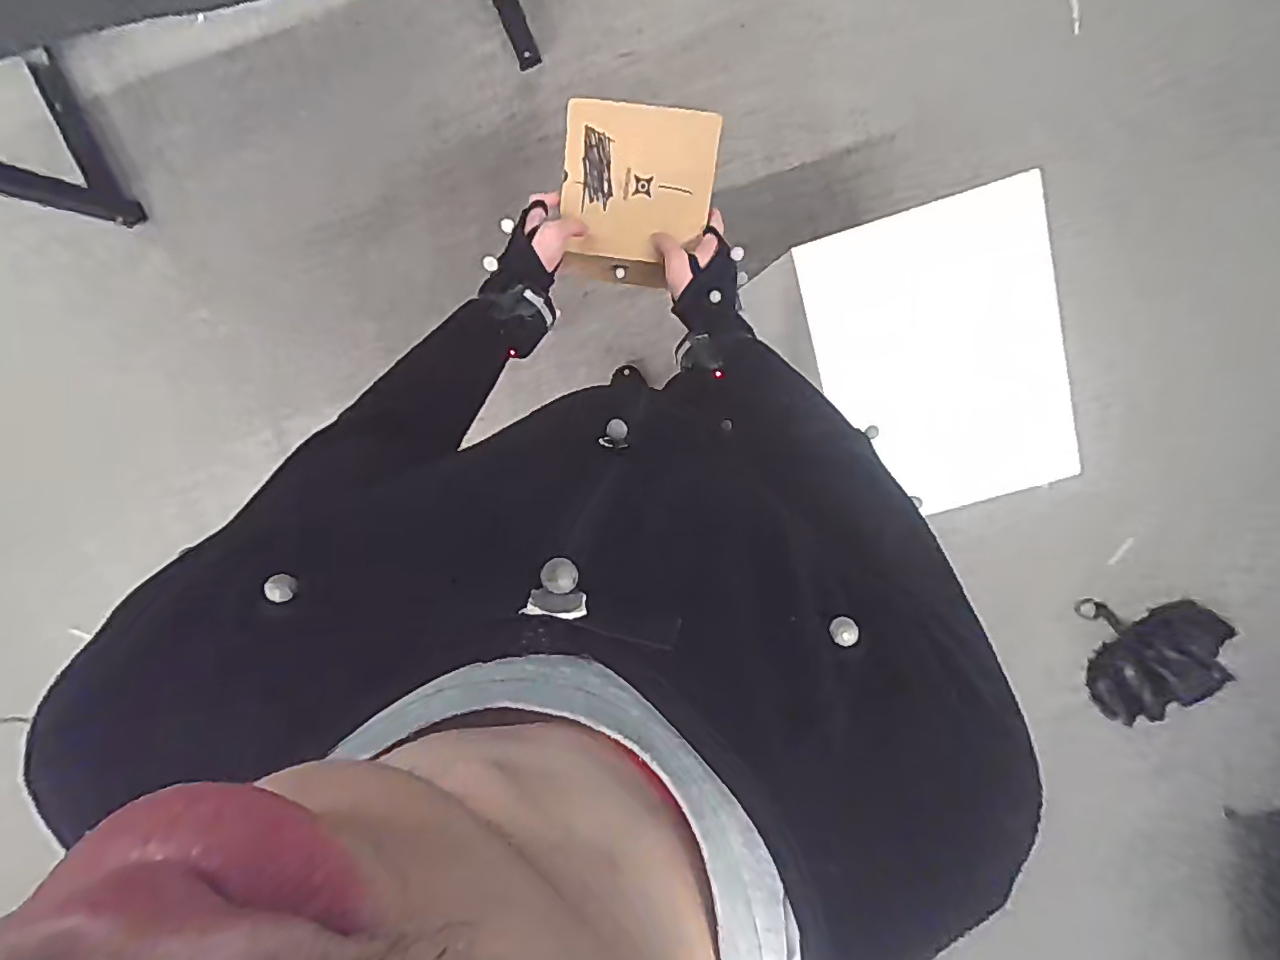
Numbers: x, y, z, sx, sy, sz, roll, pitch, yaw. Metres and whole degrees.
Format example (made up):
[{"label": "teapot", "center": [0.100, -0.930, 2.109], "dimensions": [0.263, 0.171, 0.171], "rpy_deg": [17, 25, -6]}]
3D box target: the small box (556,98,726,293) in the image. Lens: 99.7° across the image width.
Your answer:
[{"label": "small box", "center": [0.002, -0.339, 0.676], "dimensions": [0.179, 0.176, 0.168], "rpy_deg": [6, 99, 0]}]
